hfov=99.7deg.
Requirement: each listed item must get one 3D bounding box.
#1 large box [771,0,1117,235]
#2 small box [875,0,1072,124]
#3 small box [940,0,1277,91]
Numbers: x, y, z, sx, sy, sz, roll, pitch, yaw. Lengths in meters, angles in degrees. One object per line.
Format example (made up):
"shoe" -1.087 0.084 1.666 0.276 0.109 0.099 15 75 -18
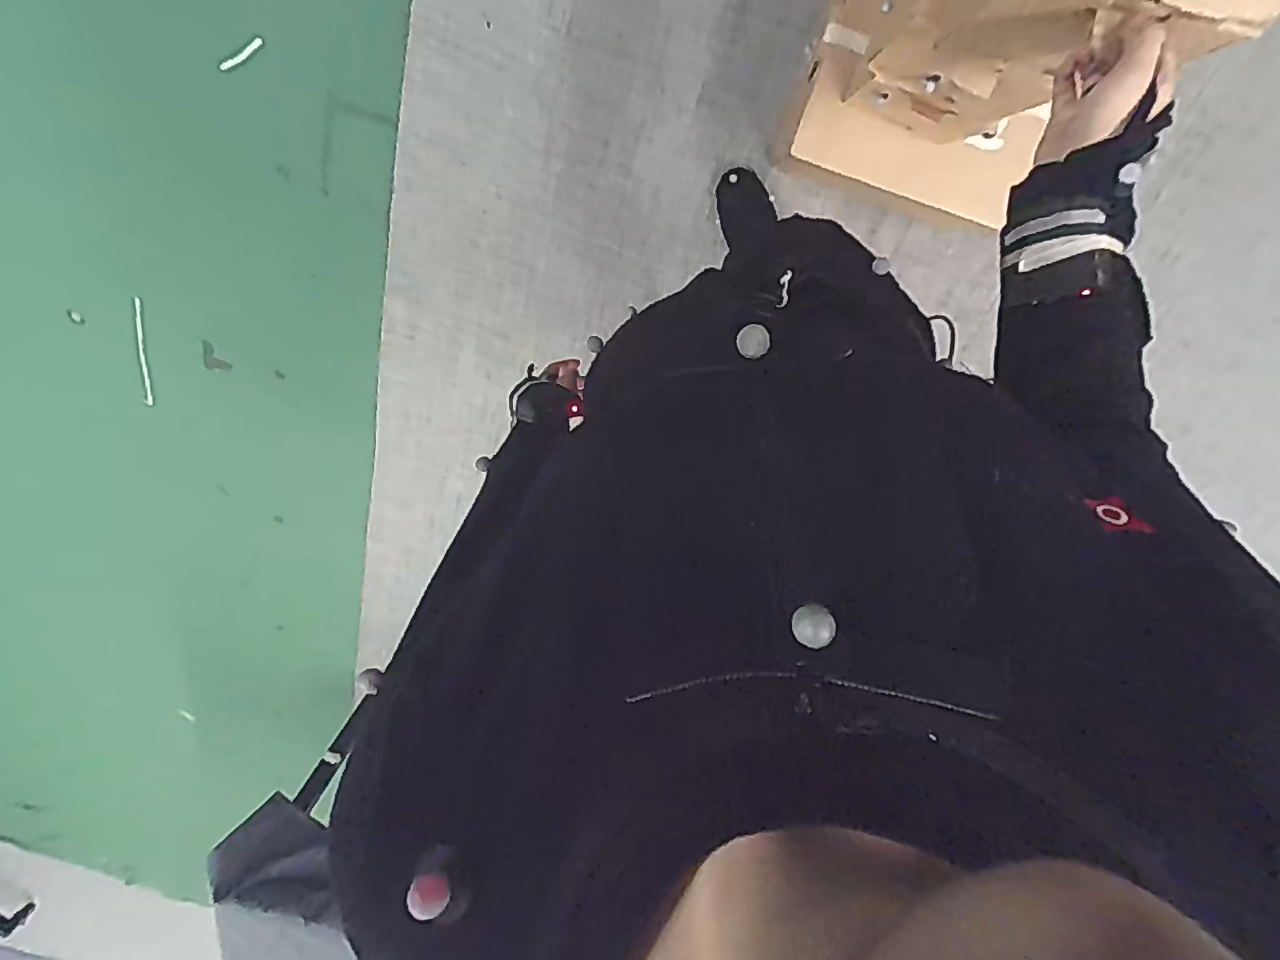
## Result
"large box" 0.478 -0.637 0.909 0.408 0.320 0.320 17 118 -3
"small box" 0.366 -0.492 0.537 0.168 0.176 0.179 23 116 -5
"small box" 0.354 -0.416 0.394 0.168 0.176 0.179 13 115 -1
